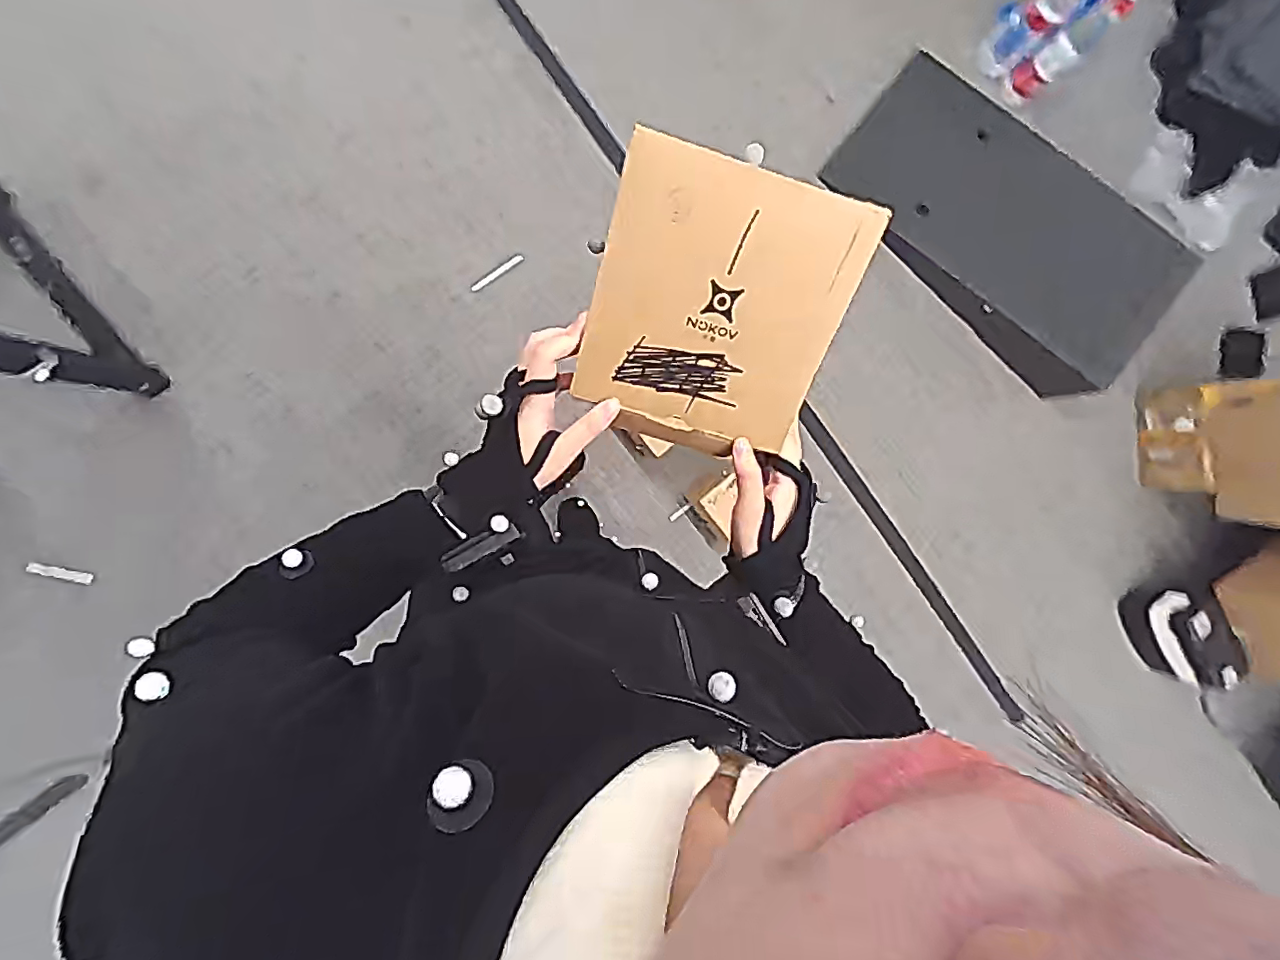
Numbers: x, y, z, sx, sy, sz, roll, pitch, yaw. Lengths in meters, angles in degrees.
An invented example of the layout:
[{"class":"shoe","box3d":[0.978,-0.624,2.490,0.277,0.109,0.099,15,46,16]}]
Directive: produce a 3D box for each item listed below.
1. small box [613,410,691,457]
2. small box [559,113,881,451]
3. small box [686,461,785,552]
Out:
[{"class":"small box","box3d":[0.042,-0.178,1.396,0.168,0.176,0.179,-38,98,-5]},{"class":"small box","box3d":[0.045,-0.152,0.417,0.168,0.176,0.179,14,120,-7]},{"class":"small box","box3d":[0.248,0.062,1.442,0.168,0.176,0.179,-38,99,-5]}]
